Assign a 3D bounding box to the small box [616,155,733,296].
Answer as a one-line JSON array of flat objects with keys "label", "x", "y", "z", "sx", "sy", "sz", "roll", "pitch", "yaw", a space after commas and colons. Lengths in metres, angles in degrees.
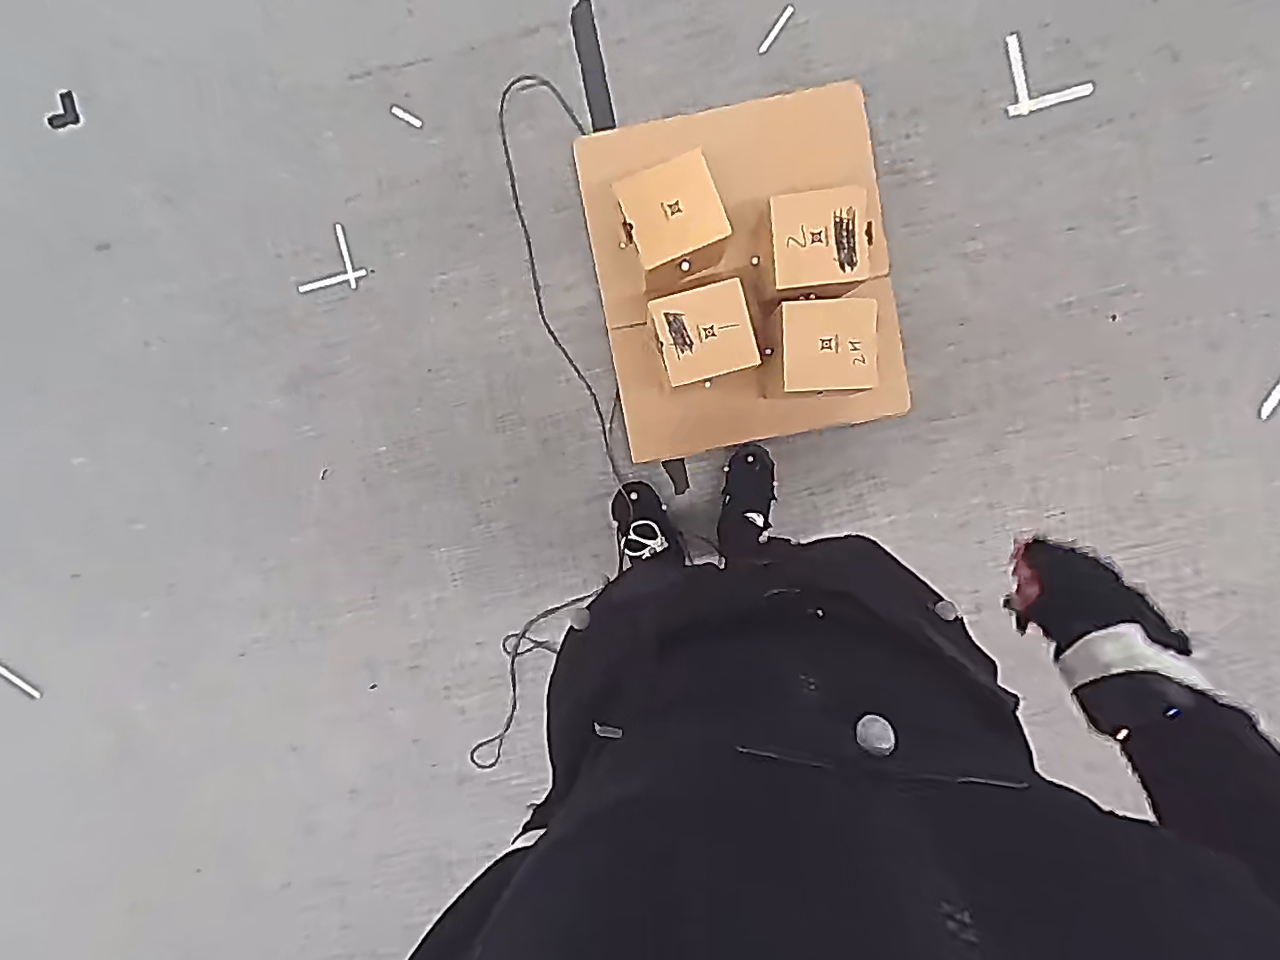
[{"label": "small box", "x": 0.064, "y": -0.489, "z": 1.066, "sx": 0.179, "sy": 0.176, "sz": 0.168, "roll": -22, "pitch": 93, "yaw": 3}]
